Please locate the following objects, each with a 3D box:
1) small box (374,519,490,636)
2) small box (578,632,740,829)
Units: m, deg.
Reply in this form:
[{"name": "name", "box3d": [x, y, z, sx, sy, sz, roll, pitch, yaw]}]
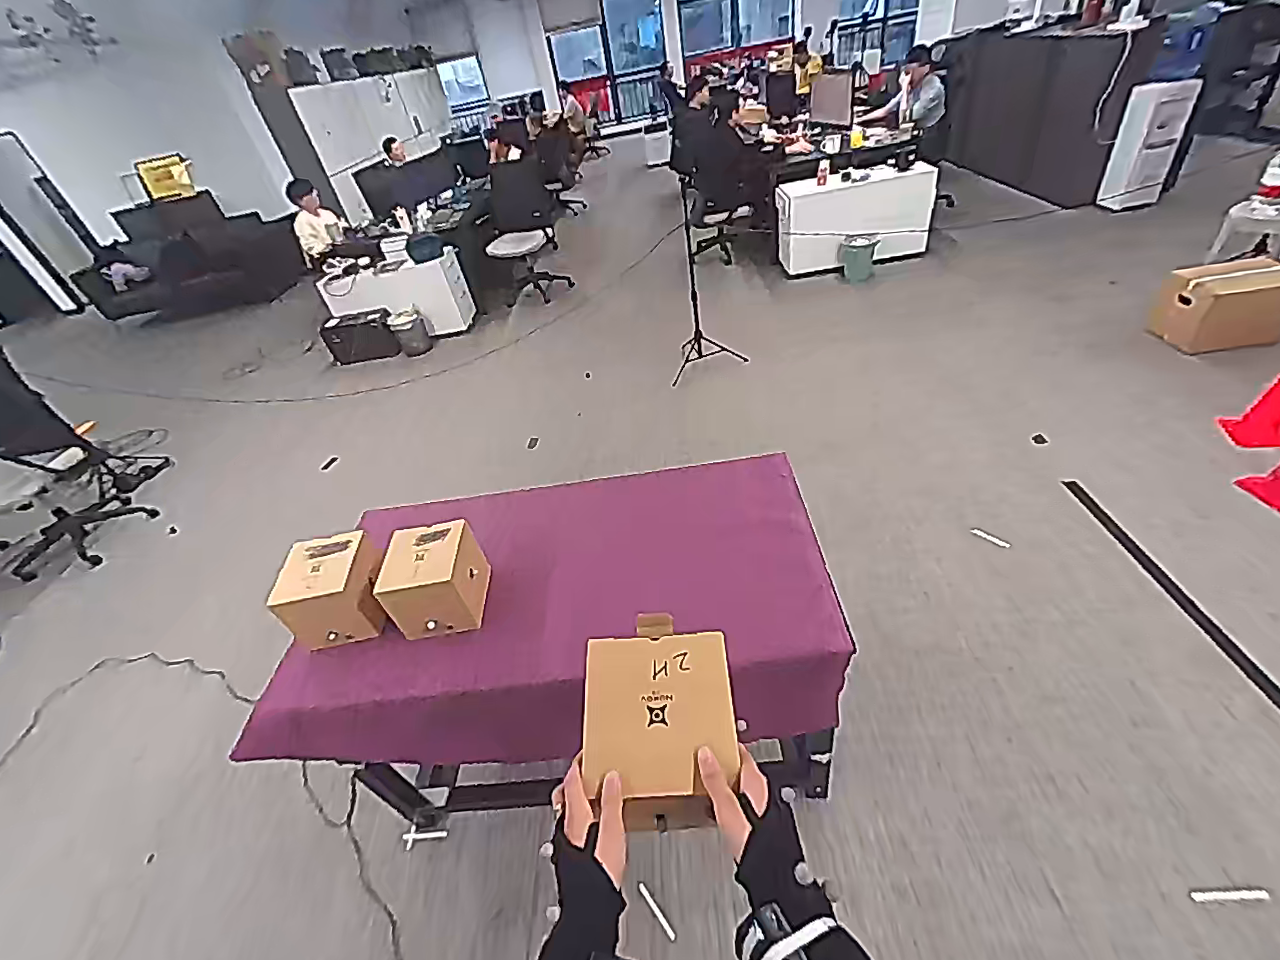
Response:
[{"name": "small box", "box3d": [-0.442, 0.214, 1.184, 0.168, 0.176, 0.179, -10, 40, 3]}, {"name": "small box", "box3d": [0.027, 0.302, 0.644, 0.168, 0.176, 0.179, -4, 47, 3]}]
